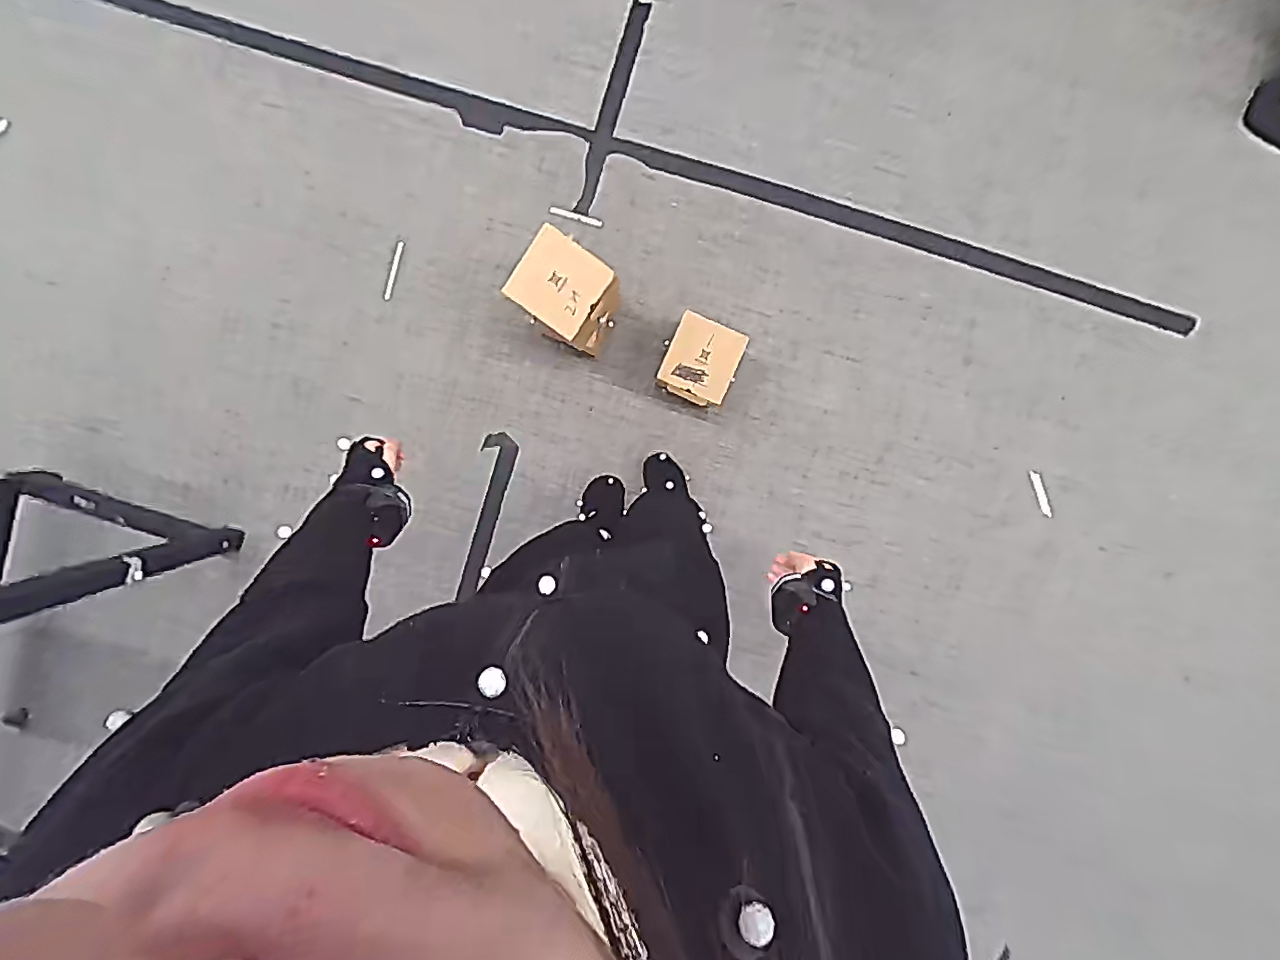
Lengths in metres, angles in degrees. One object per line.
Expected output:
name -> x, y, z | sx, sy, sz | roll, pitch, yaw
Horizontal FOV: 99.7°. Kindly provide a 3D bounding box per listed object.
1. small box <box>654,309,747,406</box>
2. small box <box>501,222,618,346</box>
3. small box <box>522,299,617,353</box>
small box -> 0.143, -0.292, 1.337 | 0.168, 0.176, 0.179 | 24, 95, -3
small box -> -0.163, -0.405, 1.156 | 0.179, 0.176, 0.168 | 36, 96, -4
small box -> -0.162, -0.421, 1.321 | 0.179, 0.176, 0.168 | 23, 96, -3
